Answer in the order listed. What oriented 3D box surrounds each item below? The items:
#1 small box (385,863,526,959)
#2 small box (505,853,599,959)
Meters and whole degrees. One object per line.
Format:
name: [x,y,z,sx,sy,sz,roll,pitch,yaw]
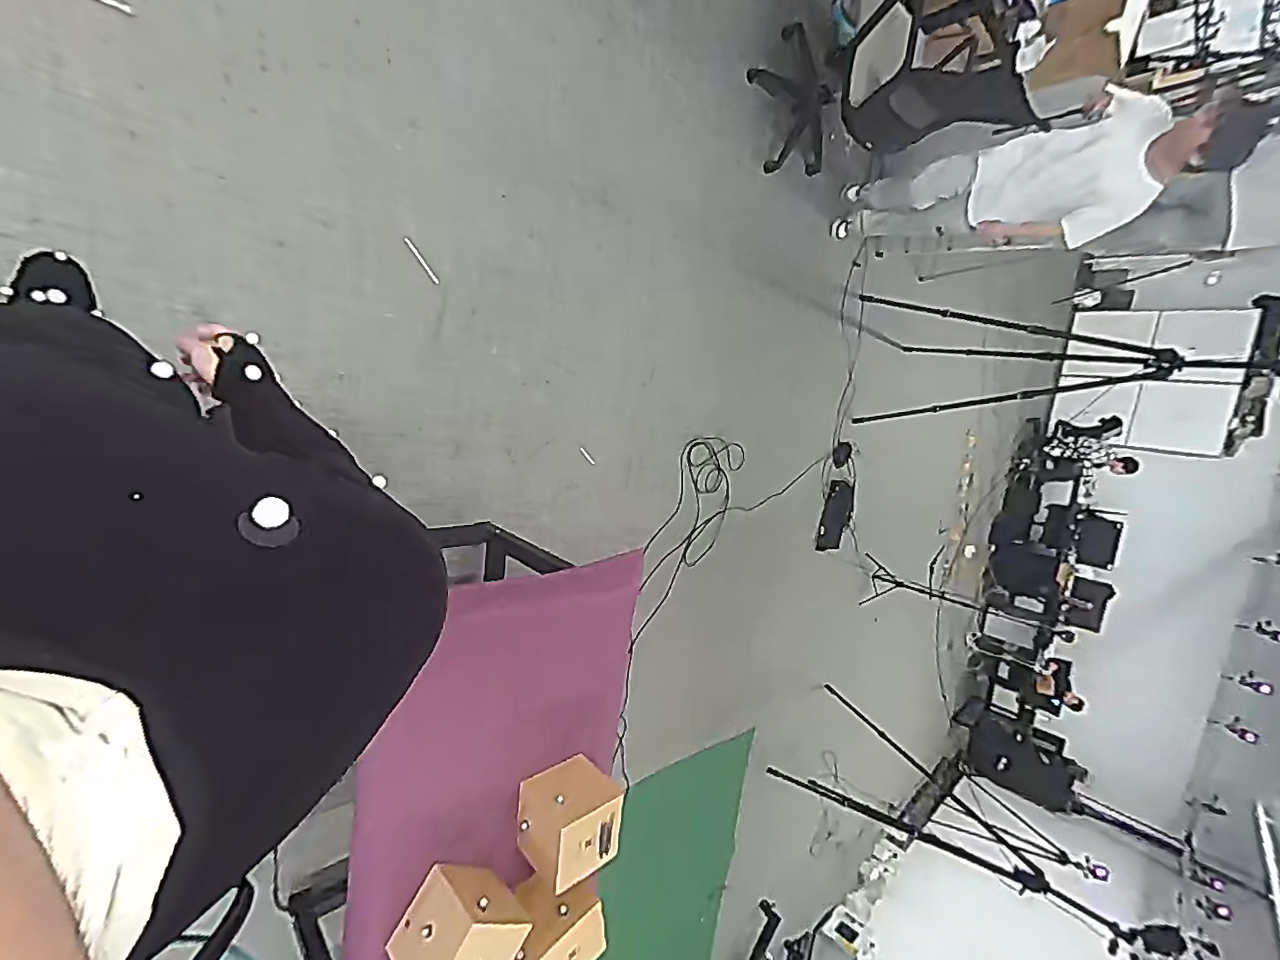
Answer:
small box: [-0.375,0.913,1.092,0.168,0.176,0.179,-58,135,-16]
small box: [-0.222,1.055,1.289,0.179,0.176,0.168,-20,114,-40]
